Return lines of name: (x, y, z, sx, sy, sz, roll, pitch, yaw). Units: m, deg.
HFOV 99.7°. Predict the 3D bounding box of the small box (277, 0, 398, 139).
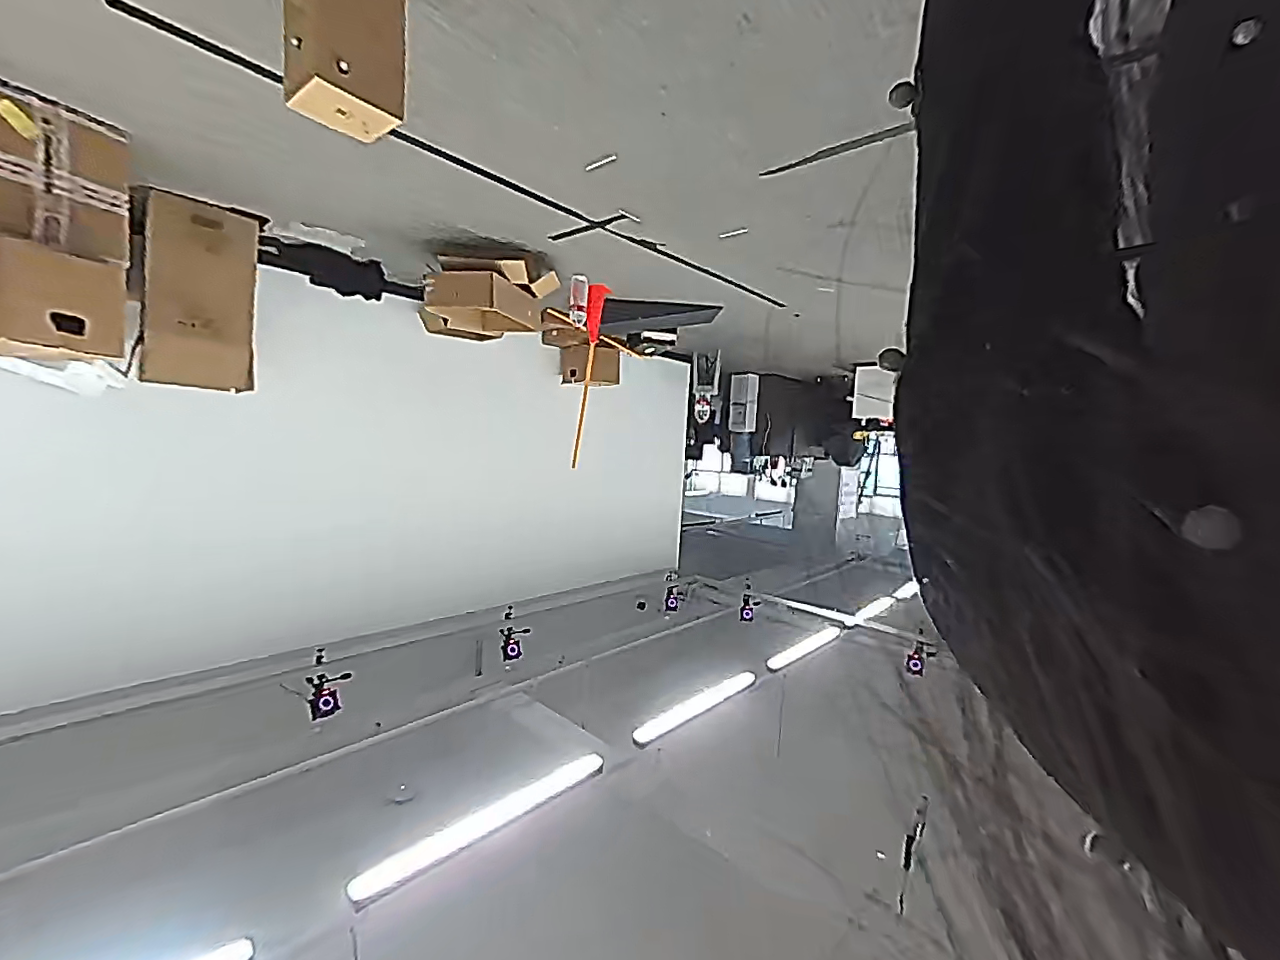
small box: (-0.622, -0.851, 1.112, 0.168, 0.176, 0.179, 7, -172, 38)
